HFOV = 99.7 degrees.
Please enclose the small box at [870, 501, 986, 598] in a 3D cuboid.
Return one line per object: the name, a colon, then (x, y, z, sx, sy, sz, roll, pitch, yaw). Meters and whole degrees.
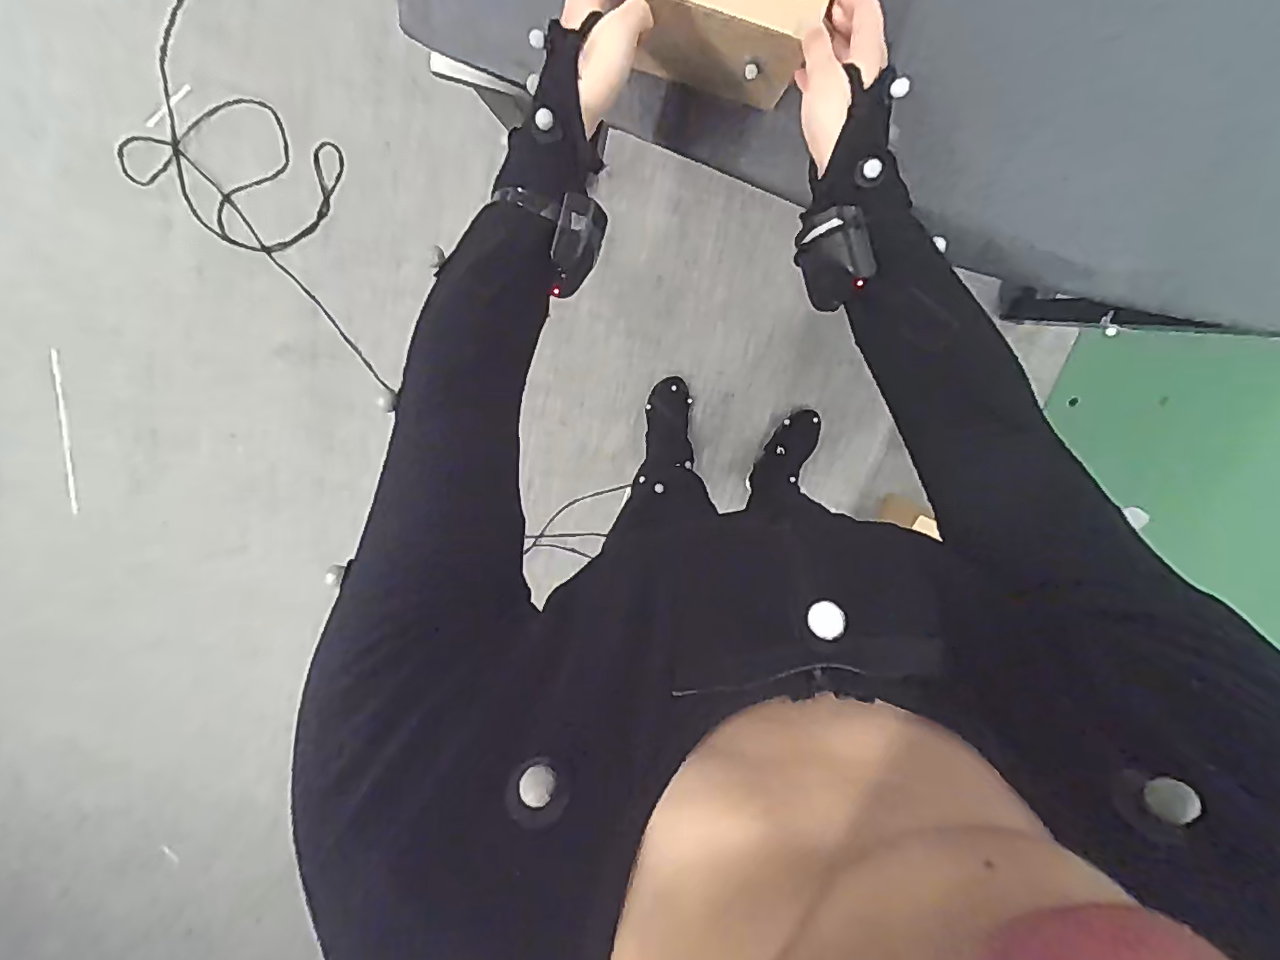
small box: (0.746, 0.175, 1.421, 0.179, 0.176, 0.168, 23, 108, -5)
